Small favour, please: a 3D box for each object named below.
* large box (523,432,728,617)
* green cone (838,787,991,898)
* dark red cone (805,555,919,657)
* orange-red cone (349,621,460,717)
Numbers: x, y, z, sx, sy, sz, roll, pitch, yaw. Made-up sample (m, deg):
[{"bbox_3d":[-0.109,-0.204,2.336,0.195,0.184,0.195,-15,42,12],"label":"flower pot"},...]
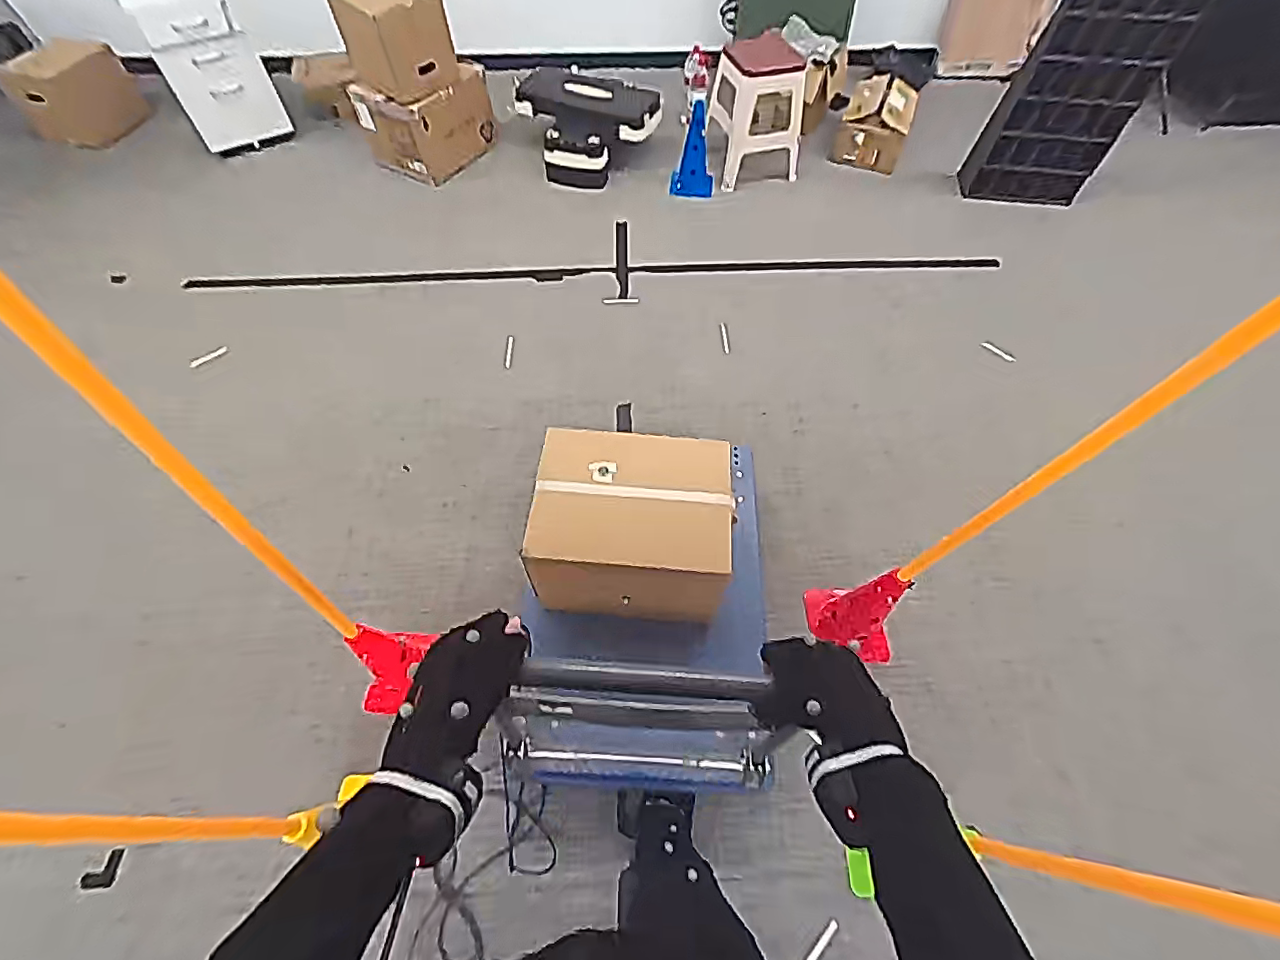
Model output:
[{"bbox_3d":[-0.018,0.112,1.242,0.408,0.320,0.320,5,58,3],"label":"large box"},{"bbox_3d":[0.551,0.700,1.044,0.202,0.368,0.200,2,57,0],"label":"green cone"},{"bbox_3d":[0.555,0.281,1.290,0.201,0.394,0.202,0,58,-3],"label":"dark red cone"},{"bbox_3d":[-0.572,0.395,1.232,0.198,0.360,0.199,6,56,2],"label":"orange-red cone"}]
